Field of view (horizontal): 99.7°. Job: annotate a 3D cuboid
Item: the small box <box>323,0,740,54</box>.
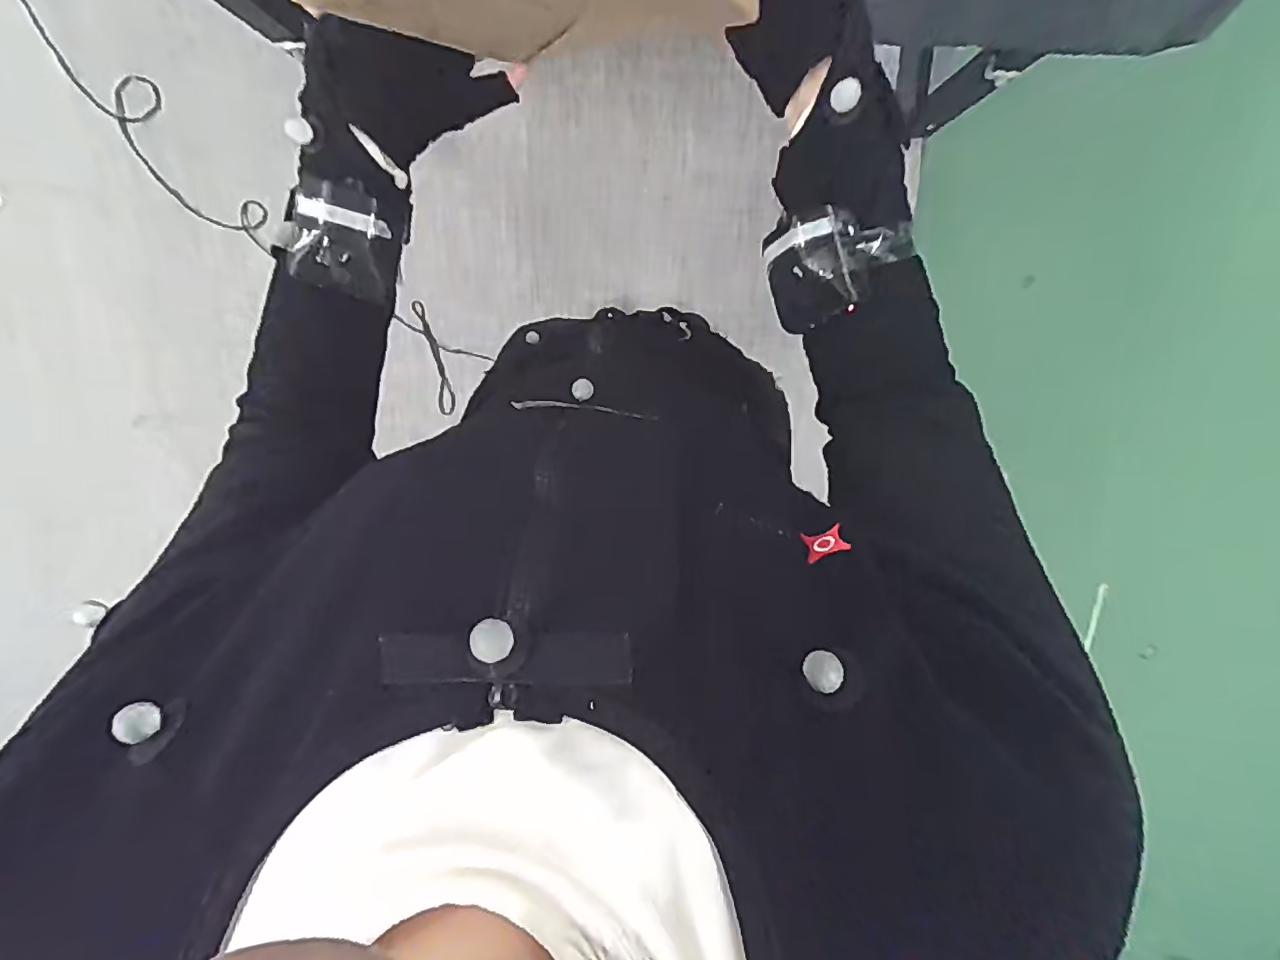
[{"bbox_3d":[-0.052,-0.320,0.250,0.179,0.168,0.176,13,120,26],"label":"small box"}]
